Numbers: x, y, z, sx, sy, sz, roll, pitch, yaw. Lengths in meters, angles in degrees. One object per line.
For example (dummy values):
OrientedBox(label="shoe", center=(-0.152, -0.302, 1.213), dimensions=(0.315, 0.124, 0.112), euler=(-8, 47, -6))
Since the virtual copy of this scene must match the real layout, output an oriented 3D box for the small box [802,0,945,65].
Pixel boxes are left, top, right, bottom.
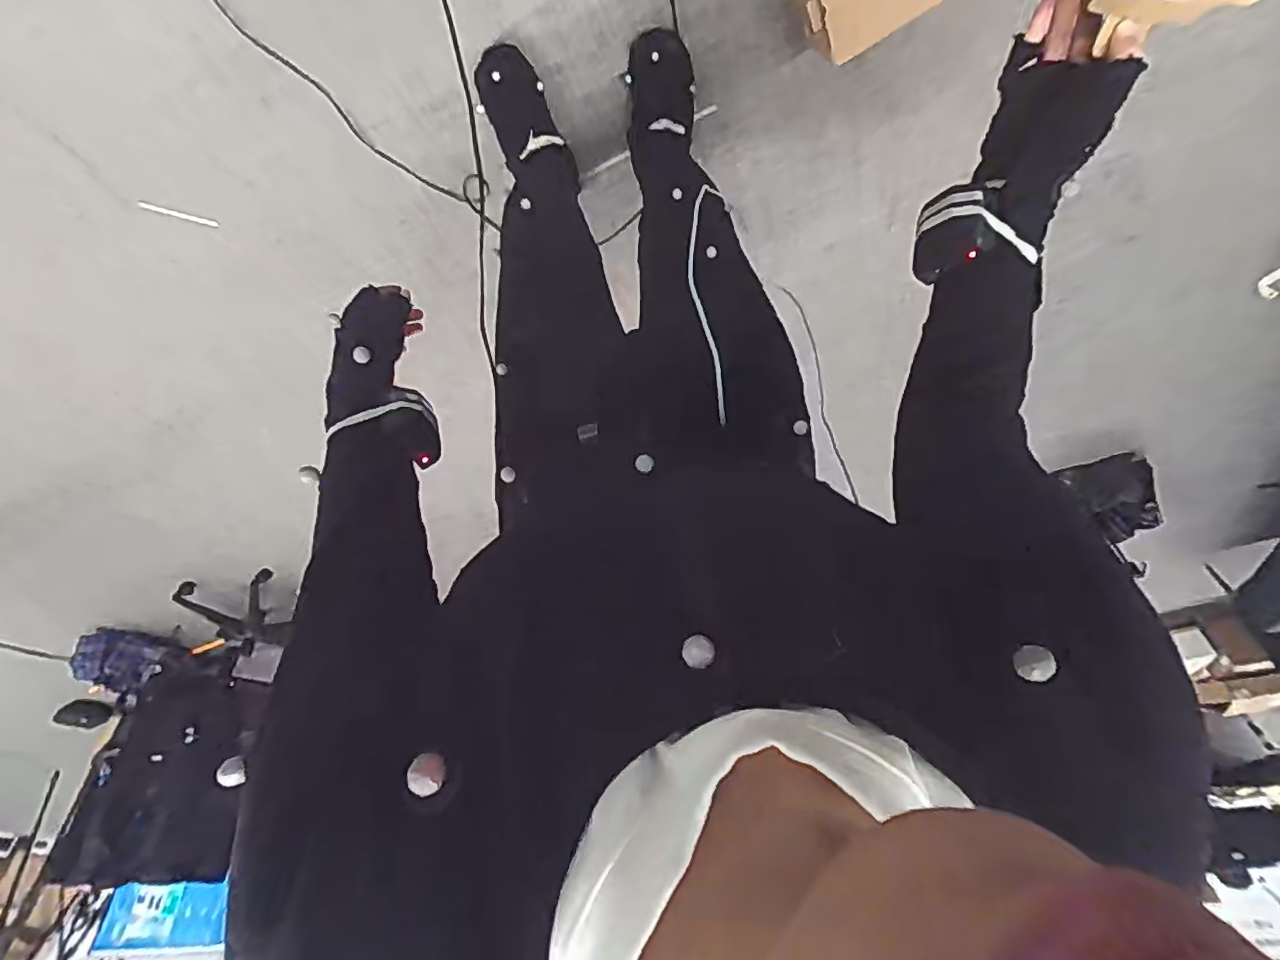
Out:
OrientedBox(label="small box", center=(0.344, -0.795, 0.830), dimensions=(0.179, 0.176, 0.168), euler=(-23, 138, 20))
